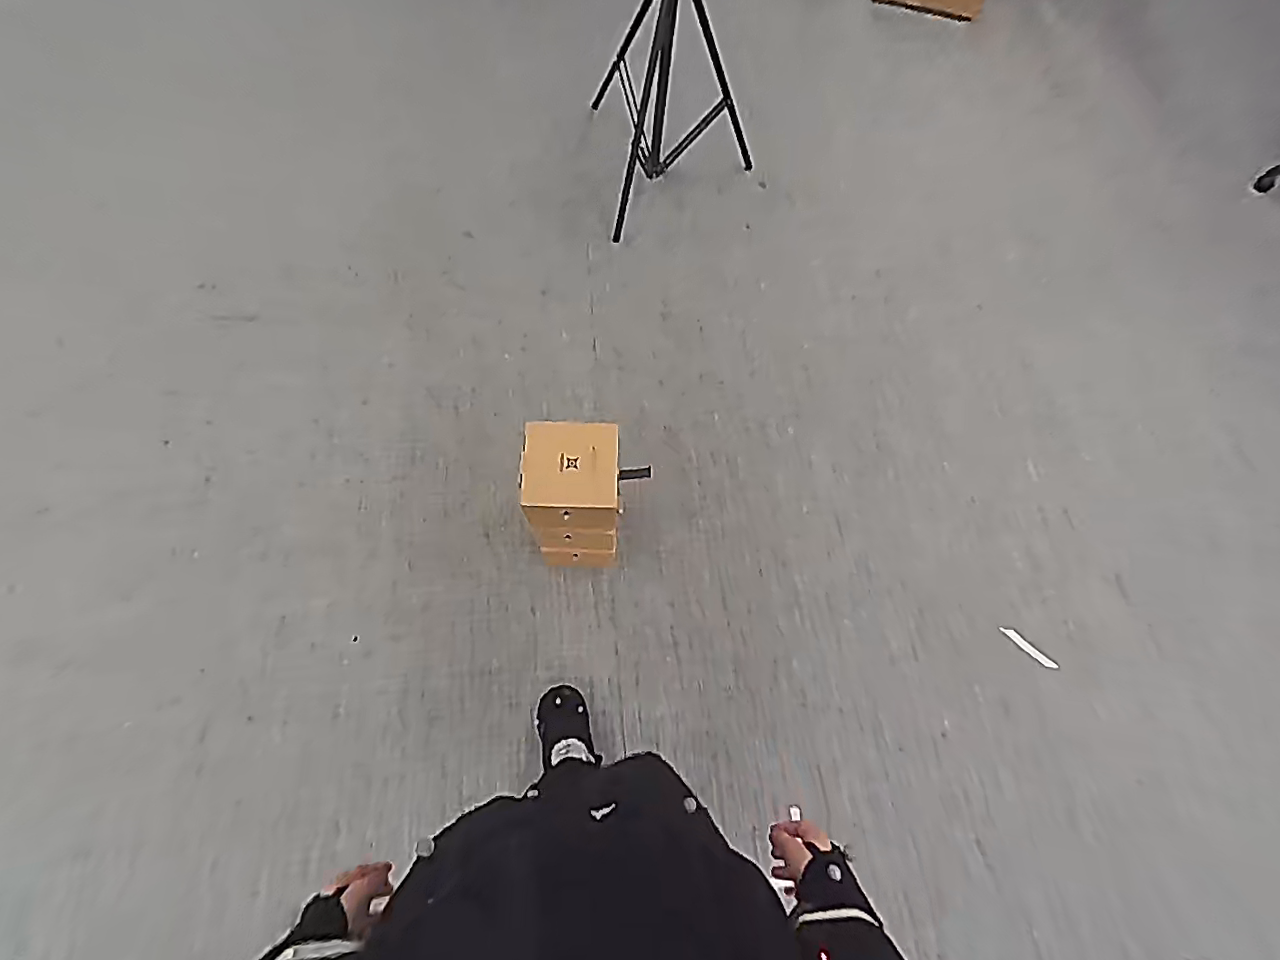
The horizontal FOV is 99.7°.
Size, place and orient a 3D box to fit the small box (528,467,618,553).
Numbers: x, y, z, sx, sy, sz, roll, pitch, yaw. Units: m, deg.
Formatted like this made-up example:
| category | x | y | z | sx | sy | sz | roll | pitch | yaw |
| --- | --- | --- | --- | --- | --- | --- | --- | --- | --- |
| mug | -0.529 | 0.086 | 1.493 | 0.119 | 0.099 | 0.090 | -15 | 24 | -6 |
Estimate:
| category | x | y | z | sx | sy | sz | roll | pitch | yaw |
| --- | --- | --- | --- | --- | --- | --- | --- | --- | --- |
| small box | -0.143 | 0.065 | 1.212 | 0.179 | 0.176 | 0.168 | 4 | 71 | -2 |

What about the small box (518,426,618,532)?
| category | x | y | z | sx | sy | sz | roll | pitch | yaw |
| --- | --- | --- | --- | --- | --- | --- | --- | --- | --- |
| small box | -0.134 | 0.005 | 1.062 | 0.179 | 0.176 | 0.168 | 1 | 72 | -4 |

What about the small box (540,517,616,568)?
| category | x | y | z | sx | sy | sz | roll | pitch | yaw |
| --- | --- | --- | --- | --- | --- | --- | --- | --- | --- |
| small box | -0.152 | 0.126 | 1.365 | 0.179 | 0.176 | 0.168 | 1 | 71 | -3 |
